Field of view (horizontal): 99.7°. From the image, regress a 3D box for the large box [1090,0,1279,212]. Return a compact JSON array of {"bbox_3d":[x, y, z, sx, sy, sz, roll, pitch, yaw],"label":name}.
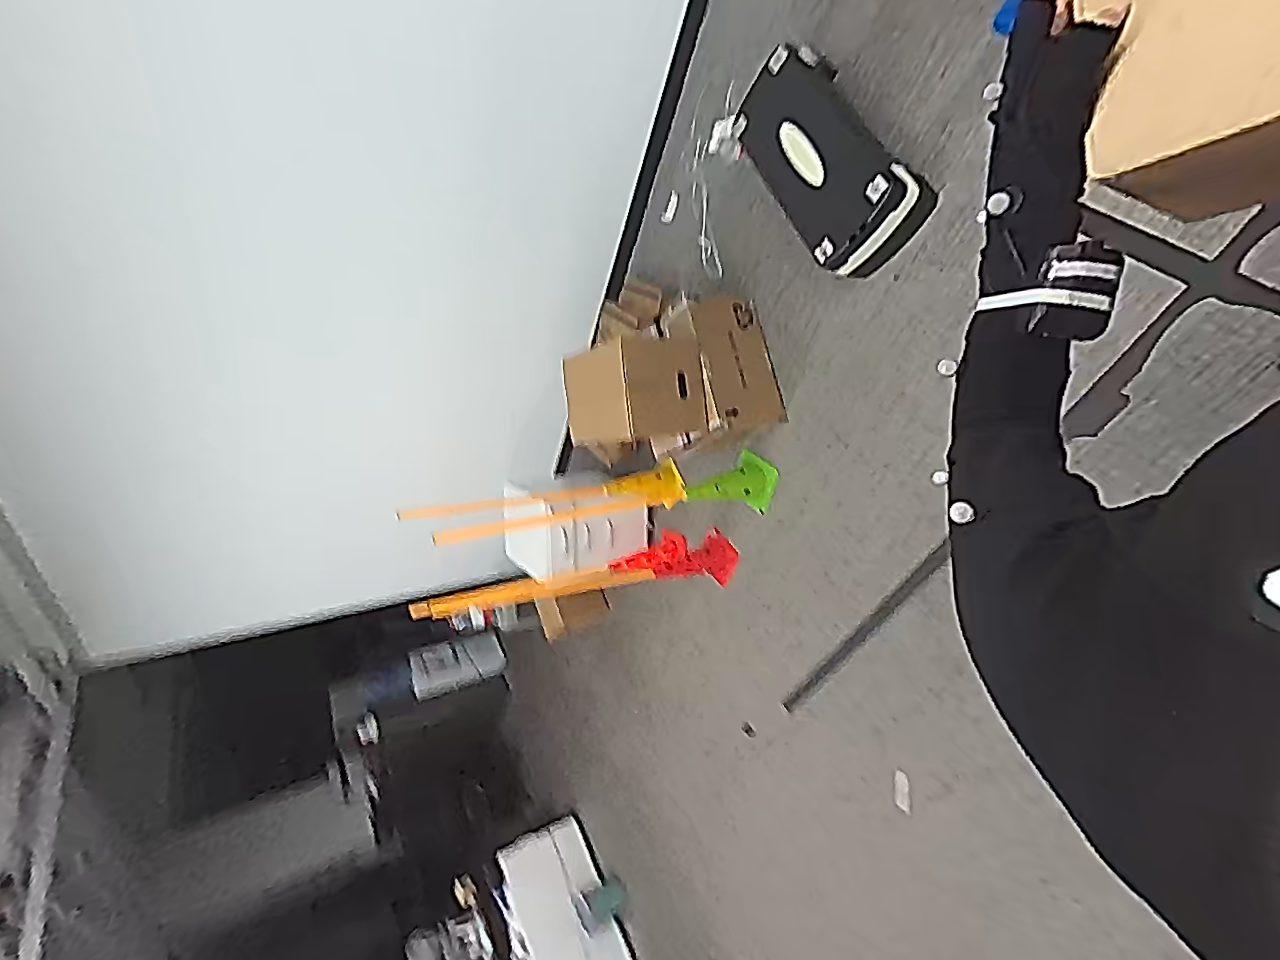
[{"bbox_3d":[0.534,-0.396,0.294,0.408,0.320,0.320,0,101,53],"label":"large box"}]
